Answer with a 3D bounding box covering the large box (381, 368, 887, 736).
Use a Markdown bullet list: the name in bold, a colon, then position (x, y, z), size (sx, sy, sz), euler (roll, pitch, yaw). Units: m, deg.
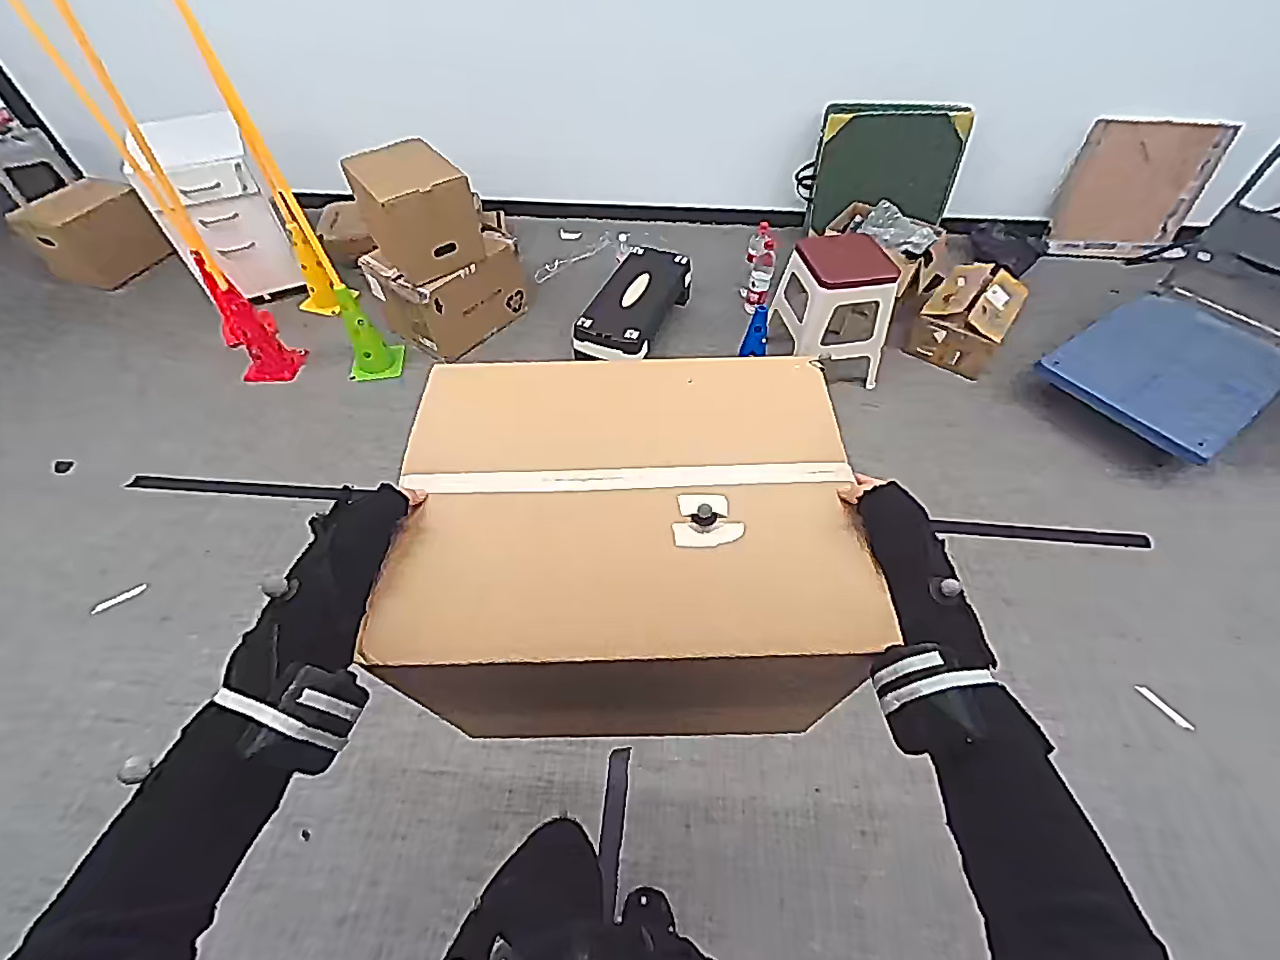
- **large box**: position (-0.008, 0.093, 0.623), size (0.408, 0.320, 0.320), euler (-1, 55, 0)
